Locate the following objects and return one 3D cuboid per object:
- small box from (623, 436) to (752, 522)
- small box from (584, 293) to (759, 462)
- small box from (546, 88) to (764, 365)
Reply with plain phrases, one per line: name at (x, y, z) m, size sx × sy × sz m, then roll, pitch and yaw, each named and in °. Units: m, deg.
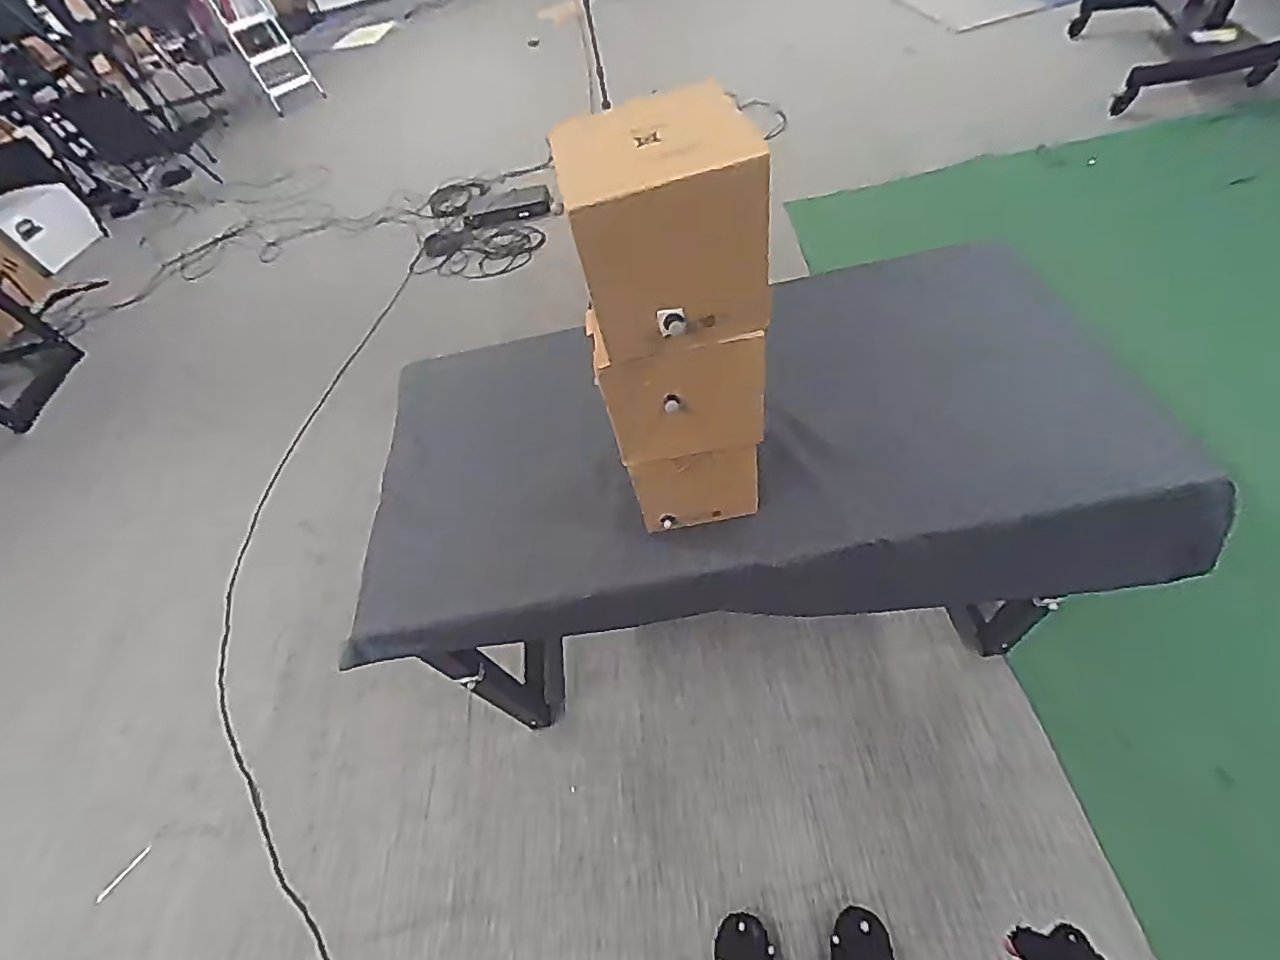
small box at (0.067, -0.054, 0.795) m, size 0.168 × 0.176 × 0.179 m, roll -11°, pitch 51°, yaw 4°
small box at (0.041, -0.144, 0.665) m, size 0.179 × 0.176 × 0.168 m, roll -13°, pitch 50°, yaw 2°
small box at (0.016, -0.246, 0.537) m, size 0.168 × 0.176 × 0.179 m, roll -16°, pitch 53°, yaw 2°
